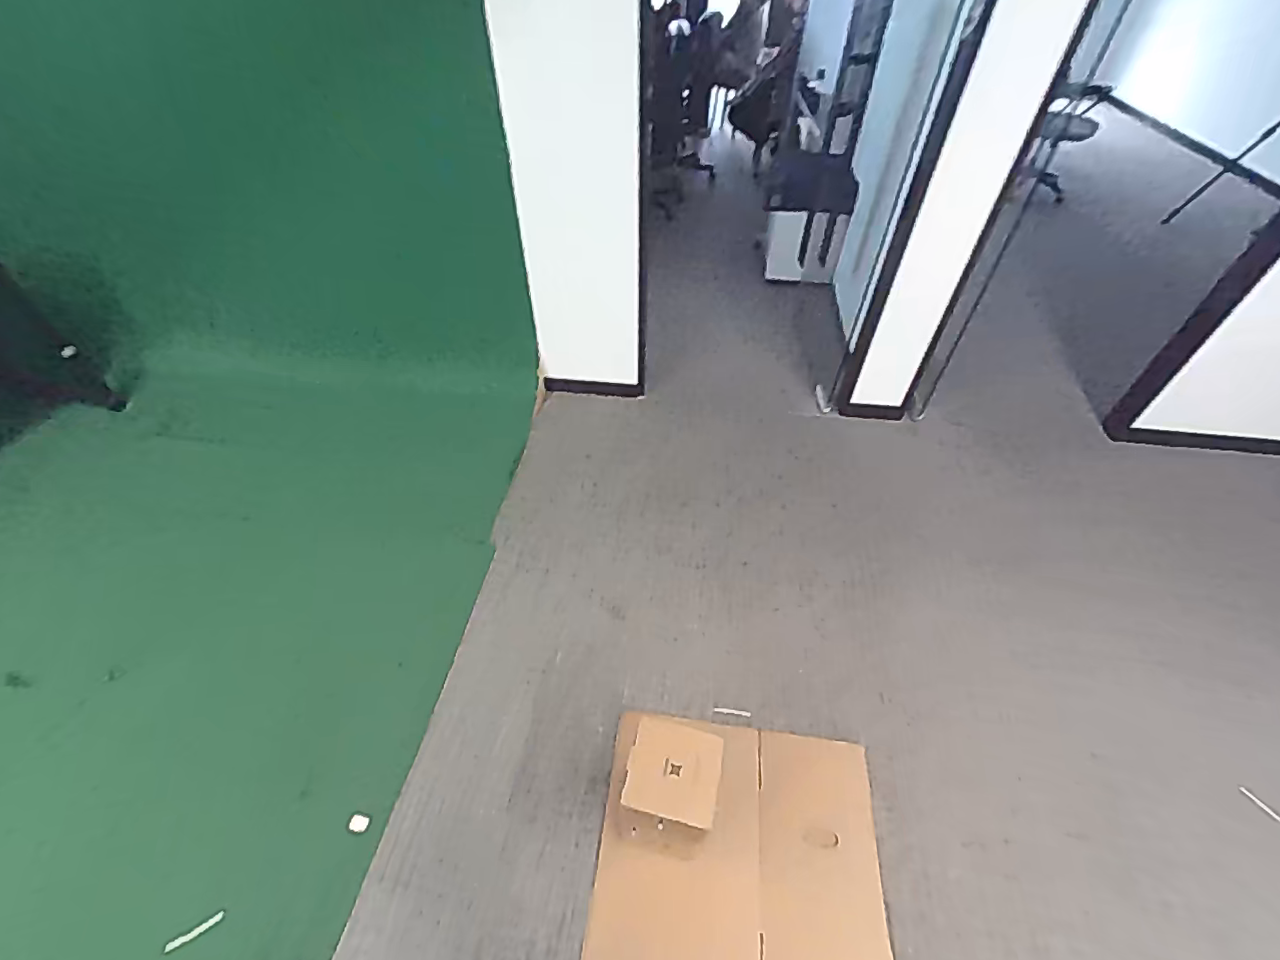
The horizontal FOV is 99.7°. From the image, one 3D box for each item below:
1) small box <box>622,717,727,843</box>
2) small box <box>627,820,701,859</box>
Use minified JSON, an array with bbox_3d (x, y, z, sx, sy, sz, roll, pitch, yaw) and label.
[{"bbox_3d":[0.070,0.611,1.097,0.179,0.176,0.168,11,49,10],"label":"small box"},{"bbox_3d":[0.070,0.821,1.349,0.179,0.176,0.168,10,48,8],"label":"small box"}]
